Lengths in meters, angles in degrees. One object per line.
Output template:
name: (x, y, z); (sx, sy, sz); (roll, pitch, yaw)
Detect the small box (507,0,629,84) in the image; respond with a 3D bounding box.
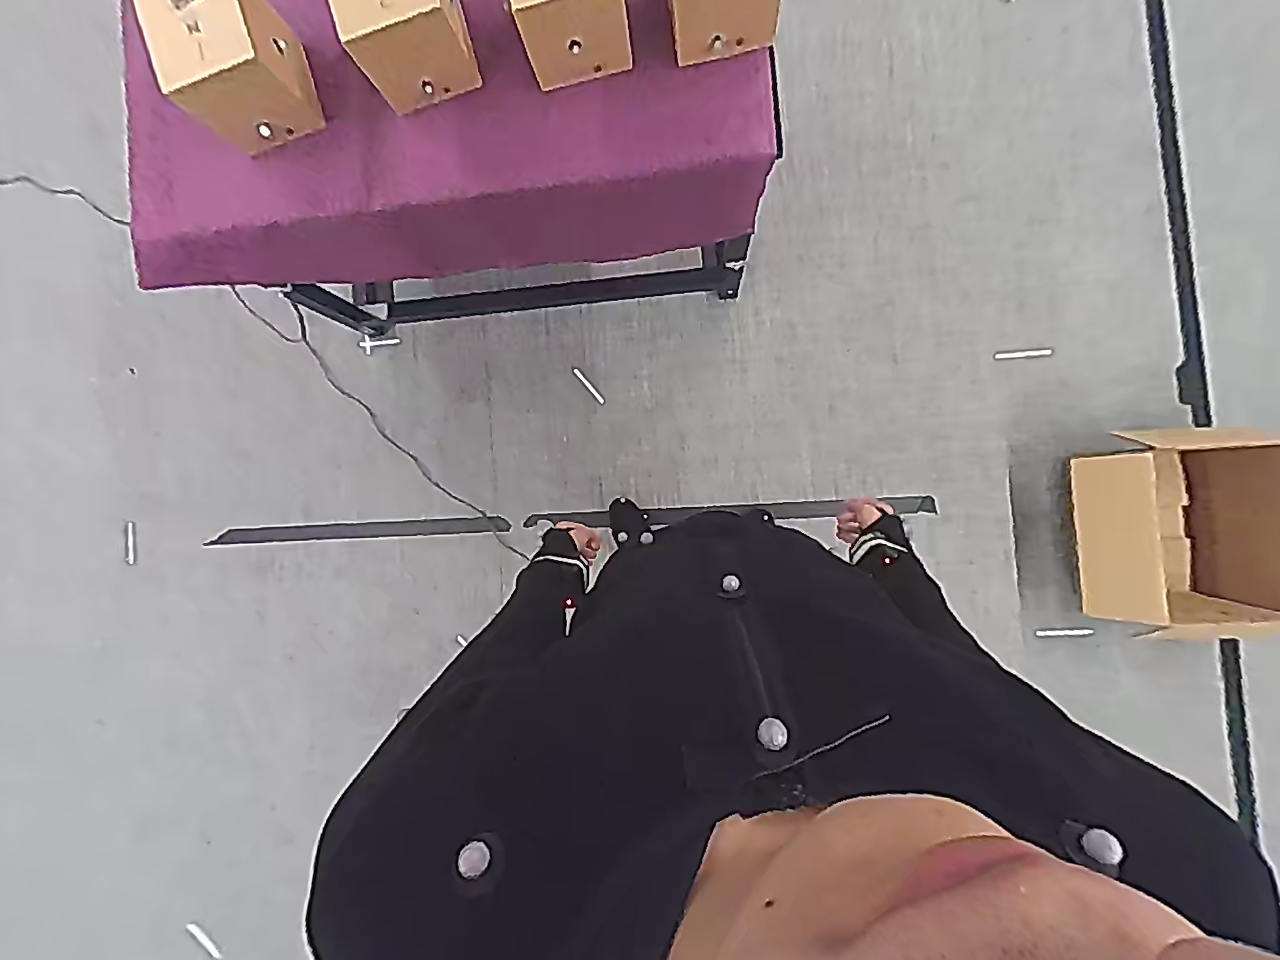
small box: (-0.117, -0.777, 0.863); (0.168, 0.176, 0.179); (-10, 88, 5)

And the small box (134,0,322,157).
small box: (-0.683, -0.698, 0.914); (0.168, 0.176, 0.179); (-18, 88, 5)

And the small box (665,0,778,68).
small box: (0.120, -0.800, 0.840); (0.168, 0.176, 0.179); (-9, 88, 7)
